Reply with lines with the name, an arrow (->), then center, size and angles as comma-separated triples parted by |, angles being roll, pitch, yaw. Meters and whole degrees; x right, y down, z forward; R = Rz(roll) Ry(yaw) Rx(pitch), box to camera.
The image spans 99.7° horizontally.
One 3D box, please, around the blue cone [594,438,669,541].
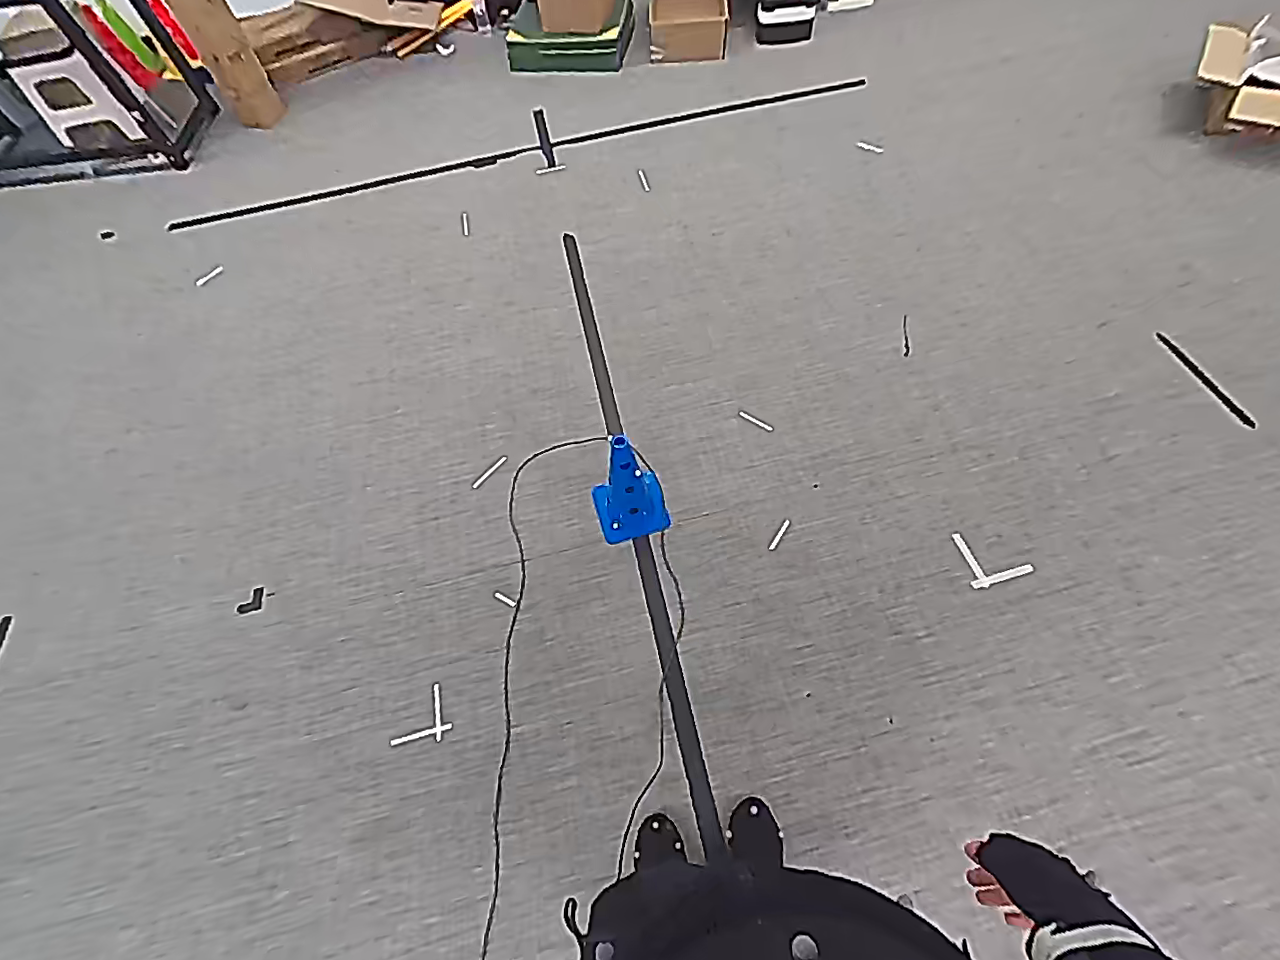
blue cone -> -0.032, -0.003, 1.441 | 0.192, 0.380, 0.193 | -18, 62, -6
